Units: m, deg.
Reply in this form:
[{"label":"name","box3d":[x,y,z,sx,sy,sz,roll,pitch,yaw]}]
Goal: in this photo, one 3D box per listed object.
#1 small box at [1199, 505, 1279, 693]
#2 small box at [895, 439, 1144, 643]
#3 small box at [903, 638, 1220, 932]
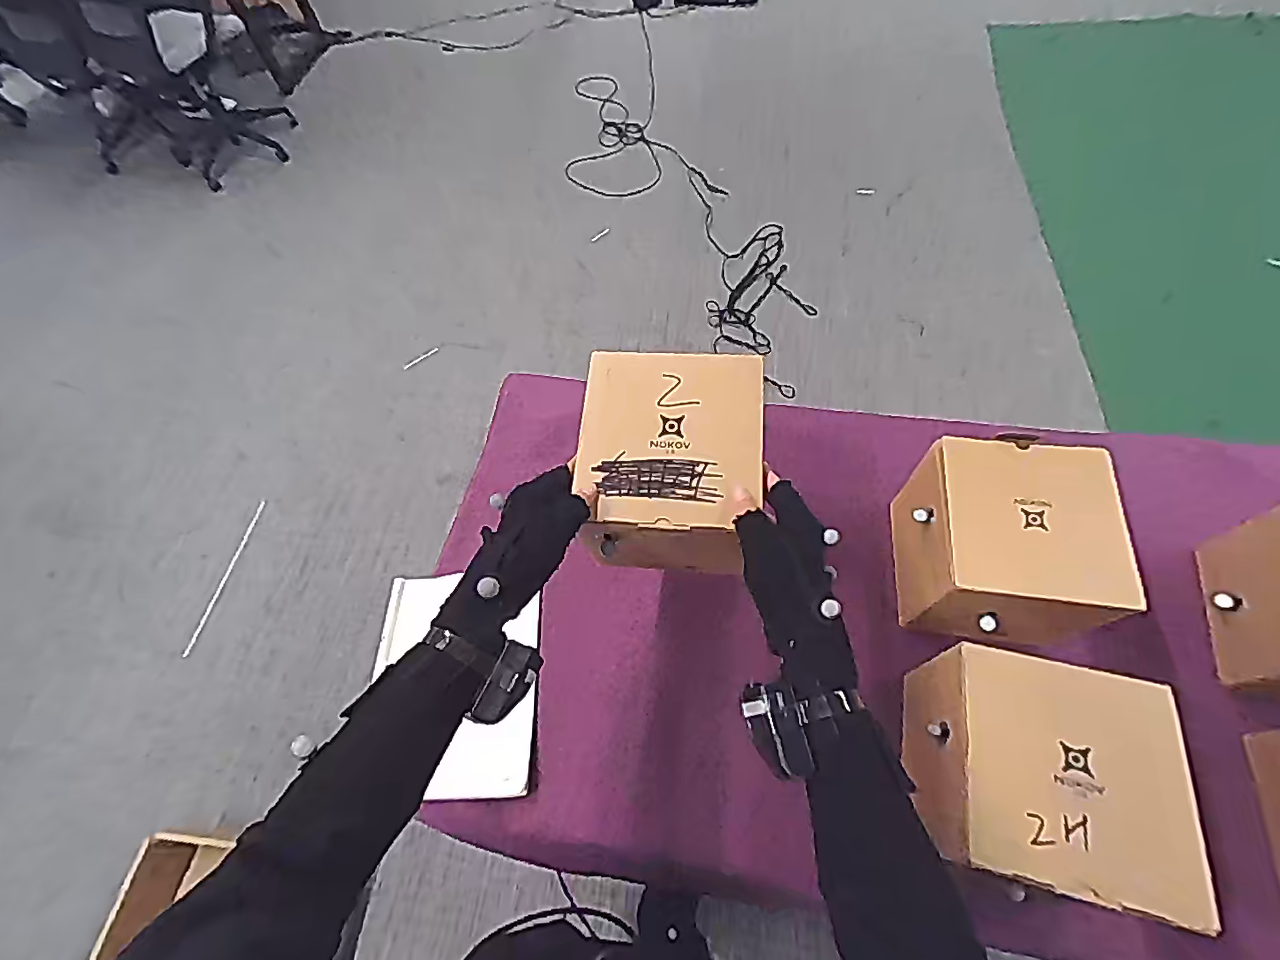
[{"label":"small box","box3d":[0.732,0.131,0.544,0.168,0.176,0.179,12,63,13]},{"label":"small box","box3d":[0.404,0.076,0.615,0.168,0.176,0.179,5,61,9]},{"label":"small box","box3d":[0.359,0.271,0.505,0.168,0.176,0.179,10,62,12]}]
